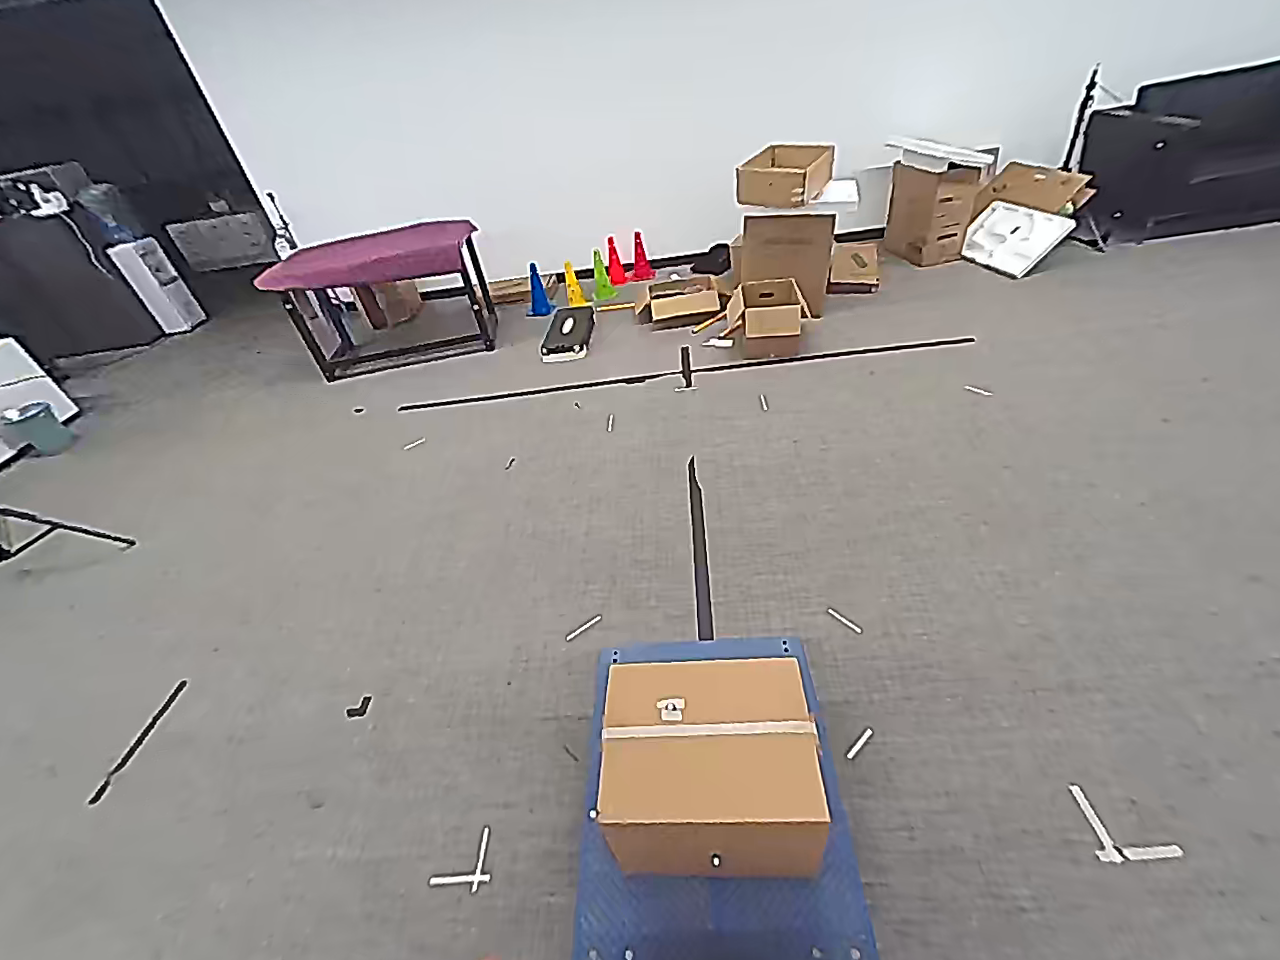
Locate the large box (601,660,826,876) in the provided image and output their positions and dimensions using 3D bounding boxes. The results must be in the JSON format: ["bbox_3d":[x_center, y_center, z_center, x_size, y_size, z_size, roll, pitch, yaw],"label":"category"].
[{"bbox_3d":[0.152,0.618,1.156,0.408,0.320,0.320,-6,38,7],"label":"large box"}]
